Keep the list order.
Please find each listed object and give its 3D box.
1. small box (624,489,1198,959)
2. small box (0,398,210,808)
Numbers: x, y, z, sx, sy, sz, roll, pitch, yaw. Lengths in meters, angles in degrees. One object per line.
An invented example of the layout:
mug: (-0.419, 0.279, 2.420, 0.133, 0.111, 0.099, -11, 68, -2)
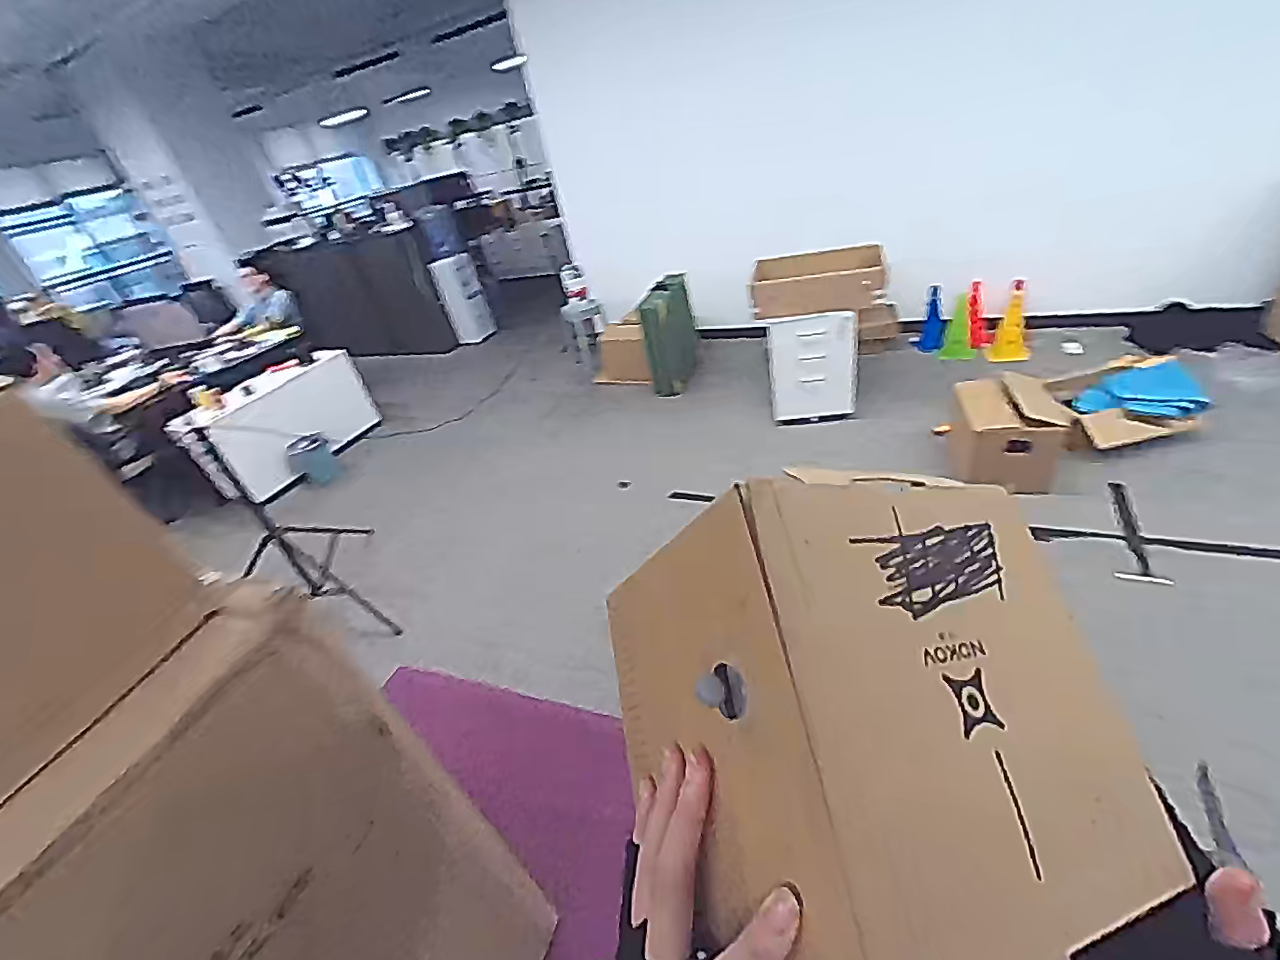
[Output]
small box: (0.101, 0.120, 0.281, 0.168, 0.176, 0.179, 1, 63, -23)
small box: (-0.394, 0.074, 0.281, 0.168, 0.176, 0.179, 2, 38, 22)
